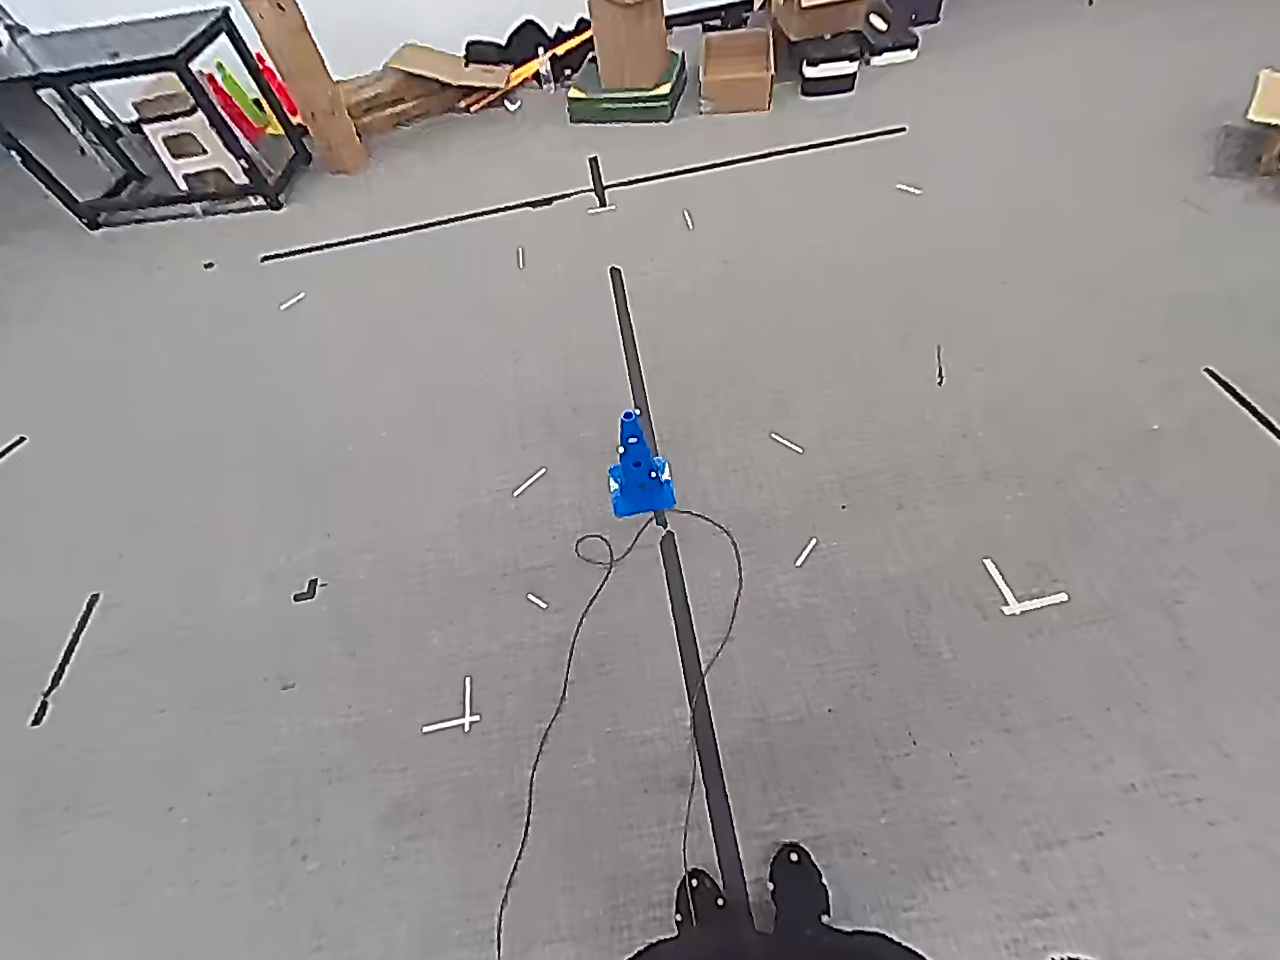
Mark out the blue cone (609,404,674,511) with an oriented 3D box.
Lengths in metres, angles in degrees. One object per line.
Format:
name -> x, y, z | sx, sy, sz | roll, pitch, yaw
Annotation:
blue cone -> -0.014, -0.081, 1.584 | 0.193, 0.380, 0.192 | -12, 57, 0
